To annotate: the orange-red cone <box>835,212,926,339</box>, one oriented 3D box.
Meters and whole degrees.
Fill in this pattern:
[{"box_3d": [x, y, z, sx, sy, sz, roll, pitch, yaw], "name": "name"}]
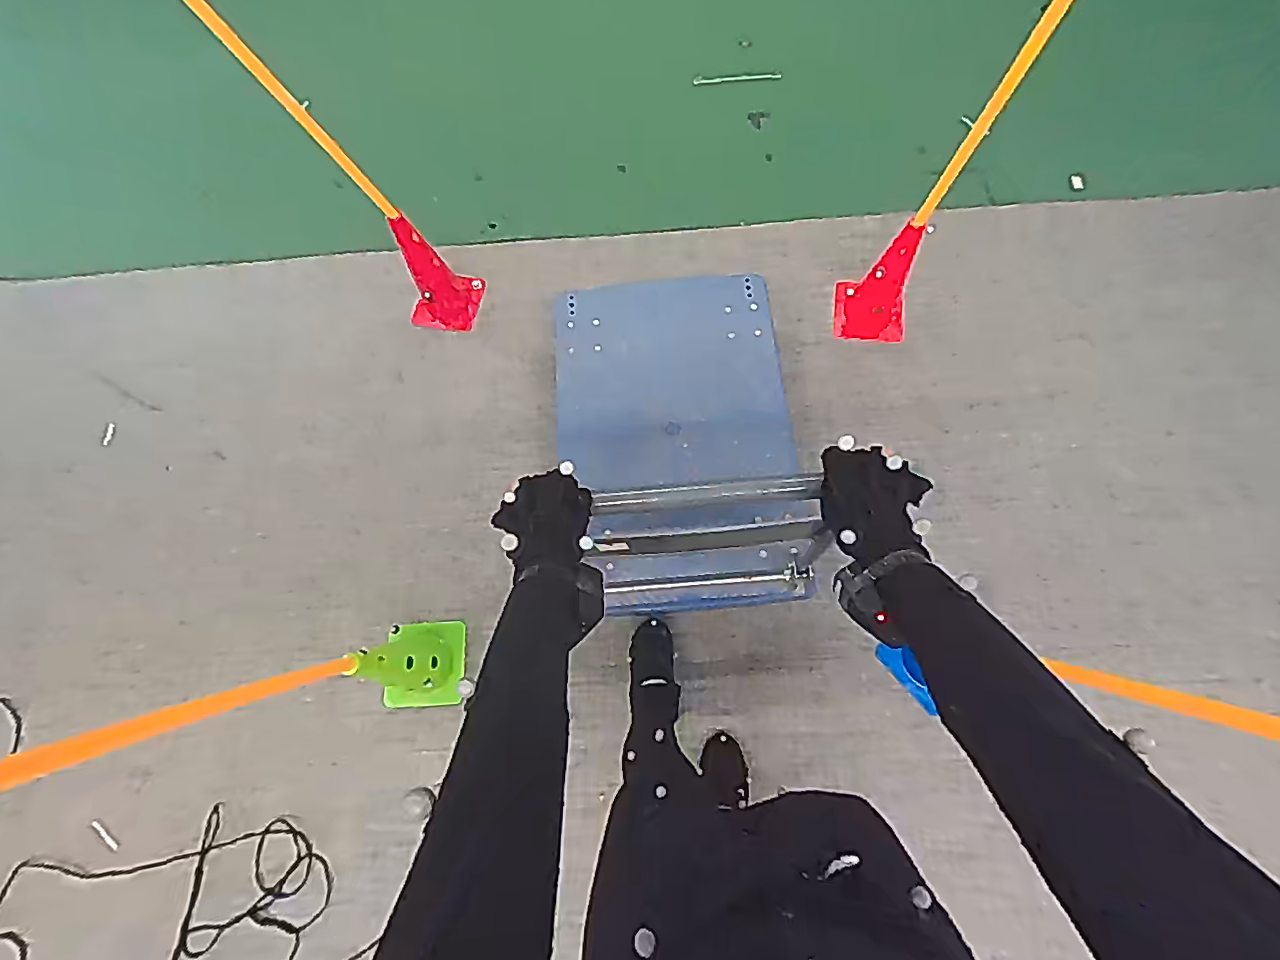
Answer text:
[{"box_3d": [0.668, -0.560, 1.437, 0.198, 0.360, 0.199, 8, 74, 7], "name": "orange-red cone"}]
